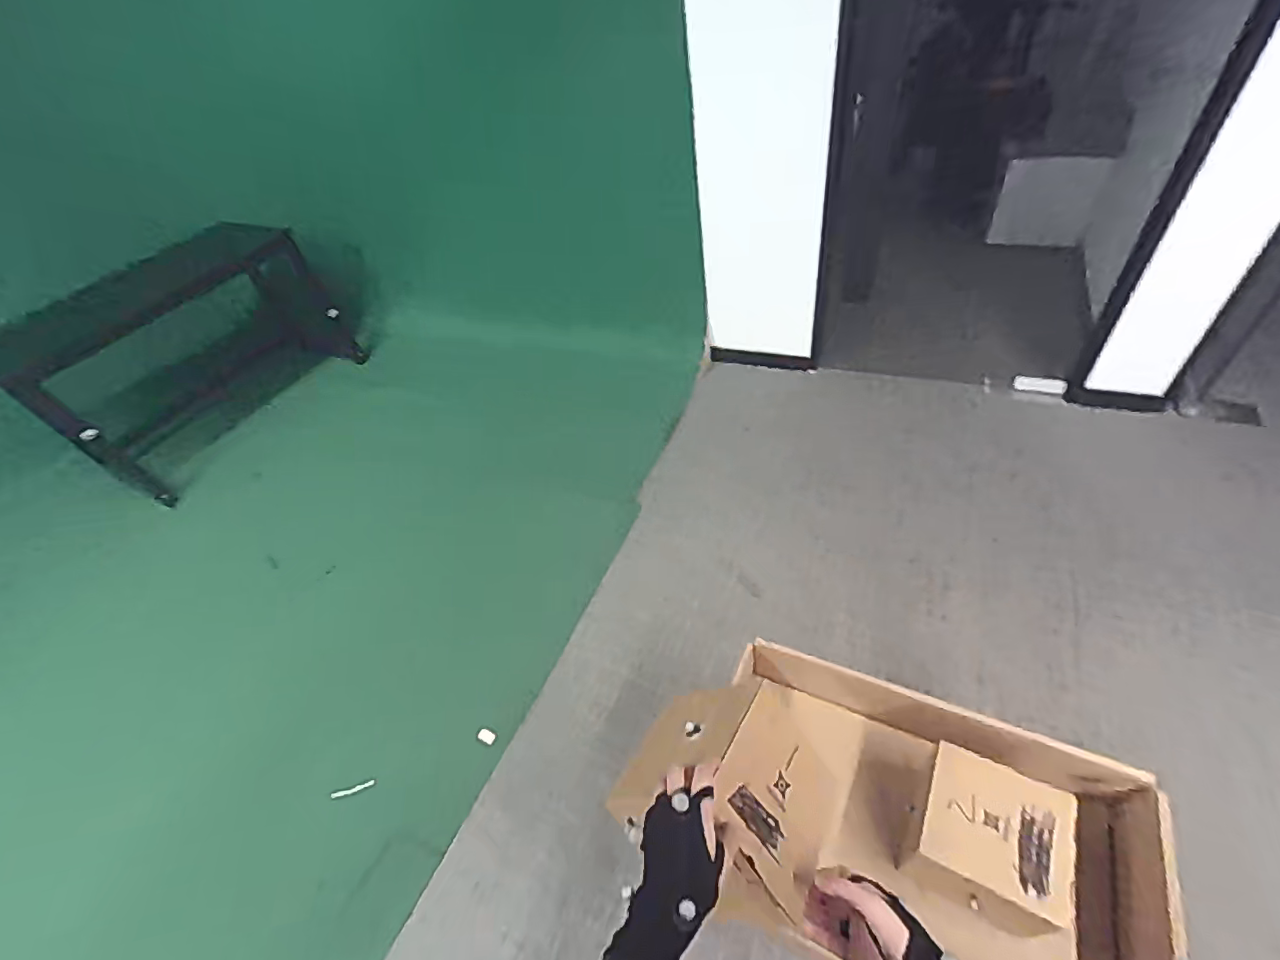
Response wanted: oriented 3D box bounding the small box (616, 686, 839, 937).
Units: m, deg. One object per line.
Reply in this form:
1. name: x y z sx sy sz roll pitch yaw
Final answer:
1. small box: 0.097 0.379 0.635 0.176 0.168 0.179 -35 3 40
